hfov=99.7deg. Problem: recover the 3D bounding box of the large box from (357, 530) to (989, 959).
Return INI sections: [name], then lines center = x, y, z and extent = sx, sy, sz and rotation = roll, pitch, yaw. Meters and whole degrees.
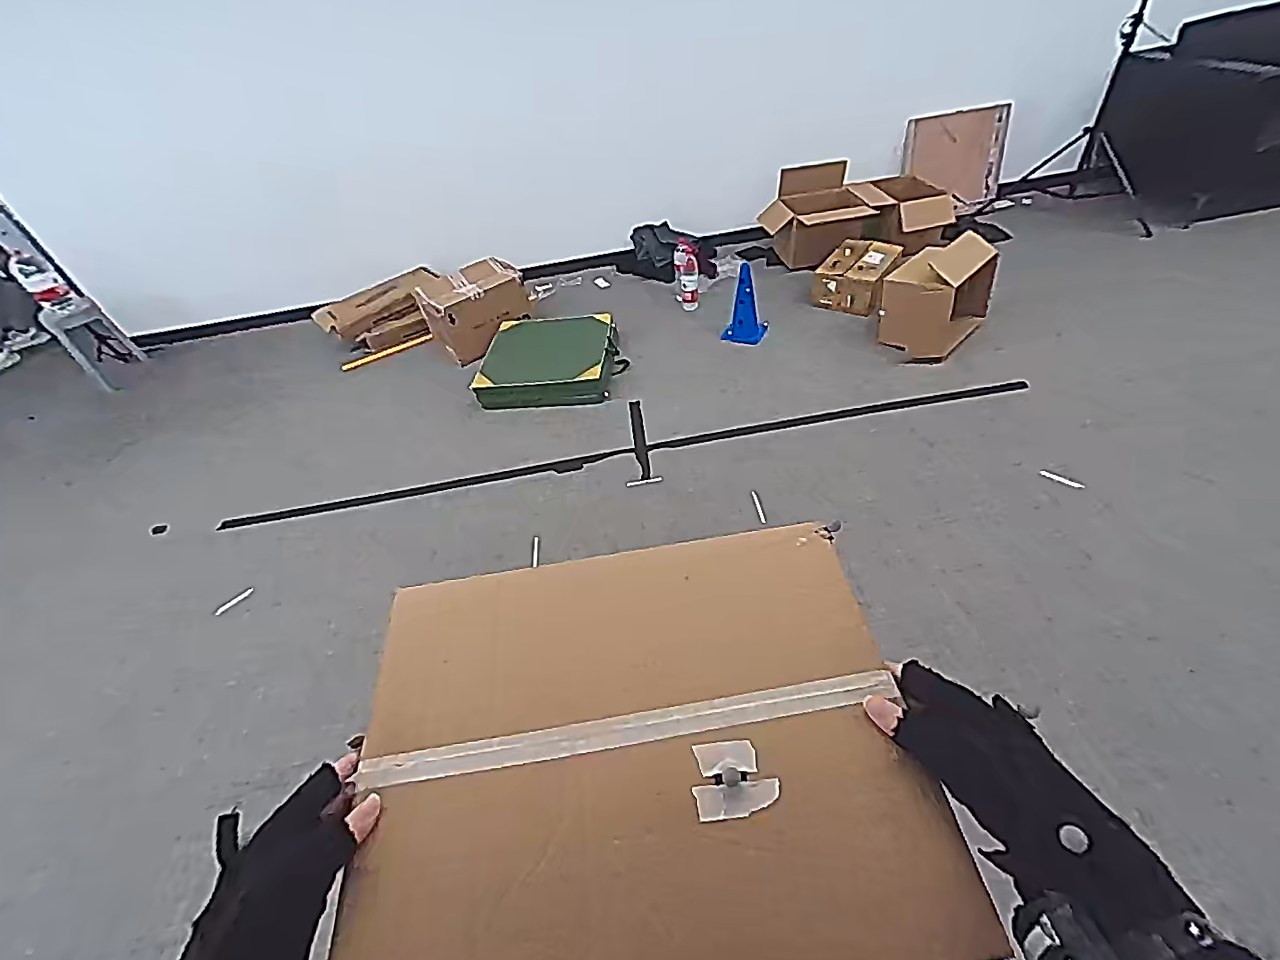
[large box]
center = 0.010, 0.291, 0.531
extent = 0.408, 0.320, 0.320
rotation = -9, 50, -2
